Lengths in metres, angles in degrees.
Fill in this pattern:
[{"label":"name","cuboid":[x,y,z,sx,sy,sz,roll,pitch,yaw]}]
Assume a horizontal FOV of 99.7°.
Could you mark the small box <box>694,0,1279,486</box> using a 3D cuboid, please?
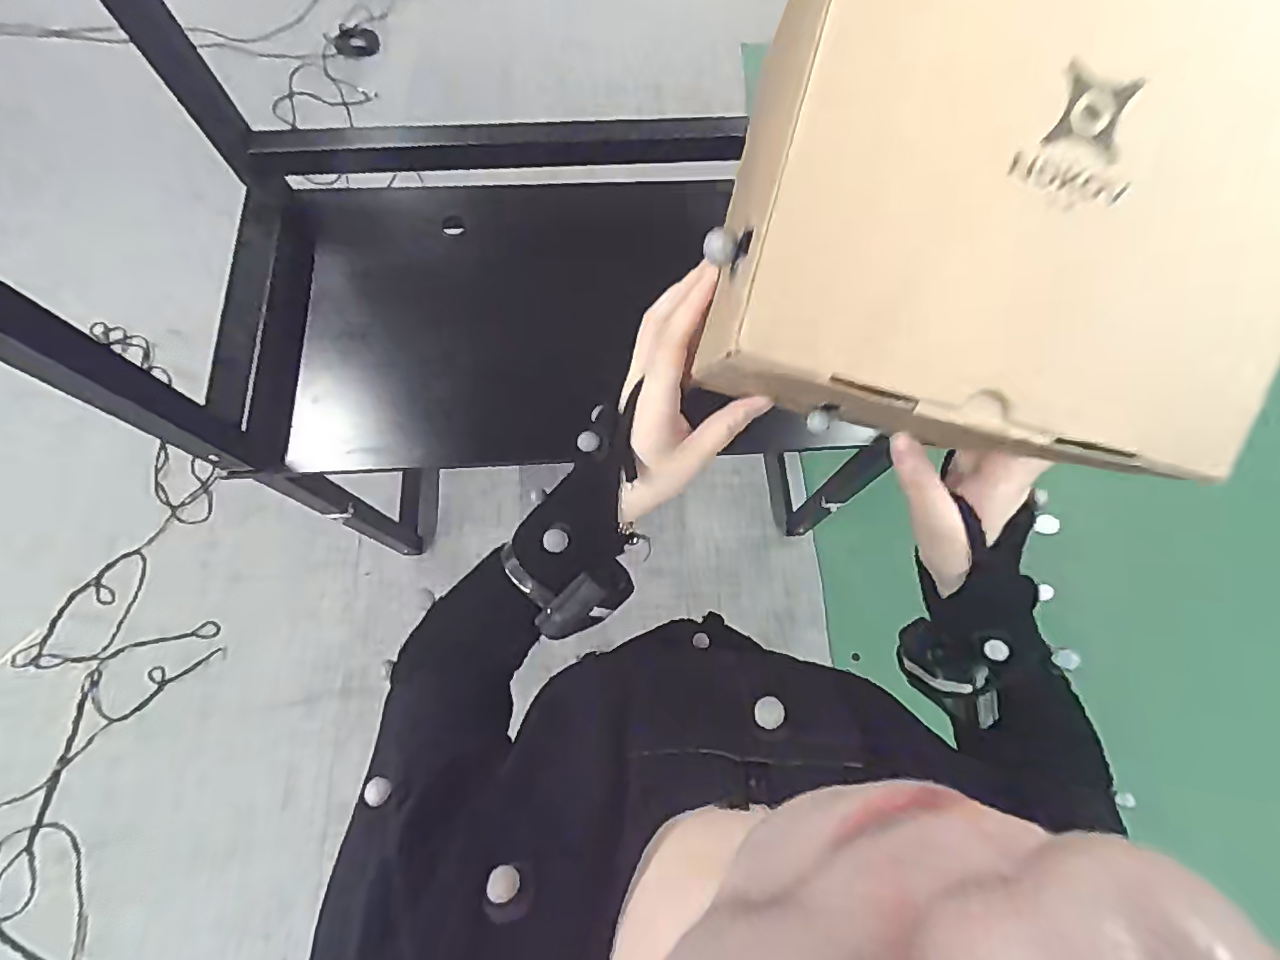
[{"label":"small box","cuboid":[0.127,-0.112,0.247,0.168,0.176,0.179,14,99,-2]}]
